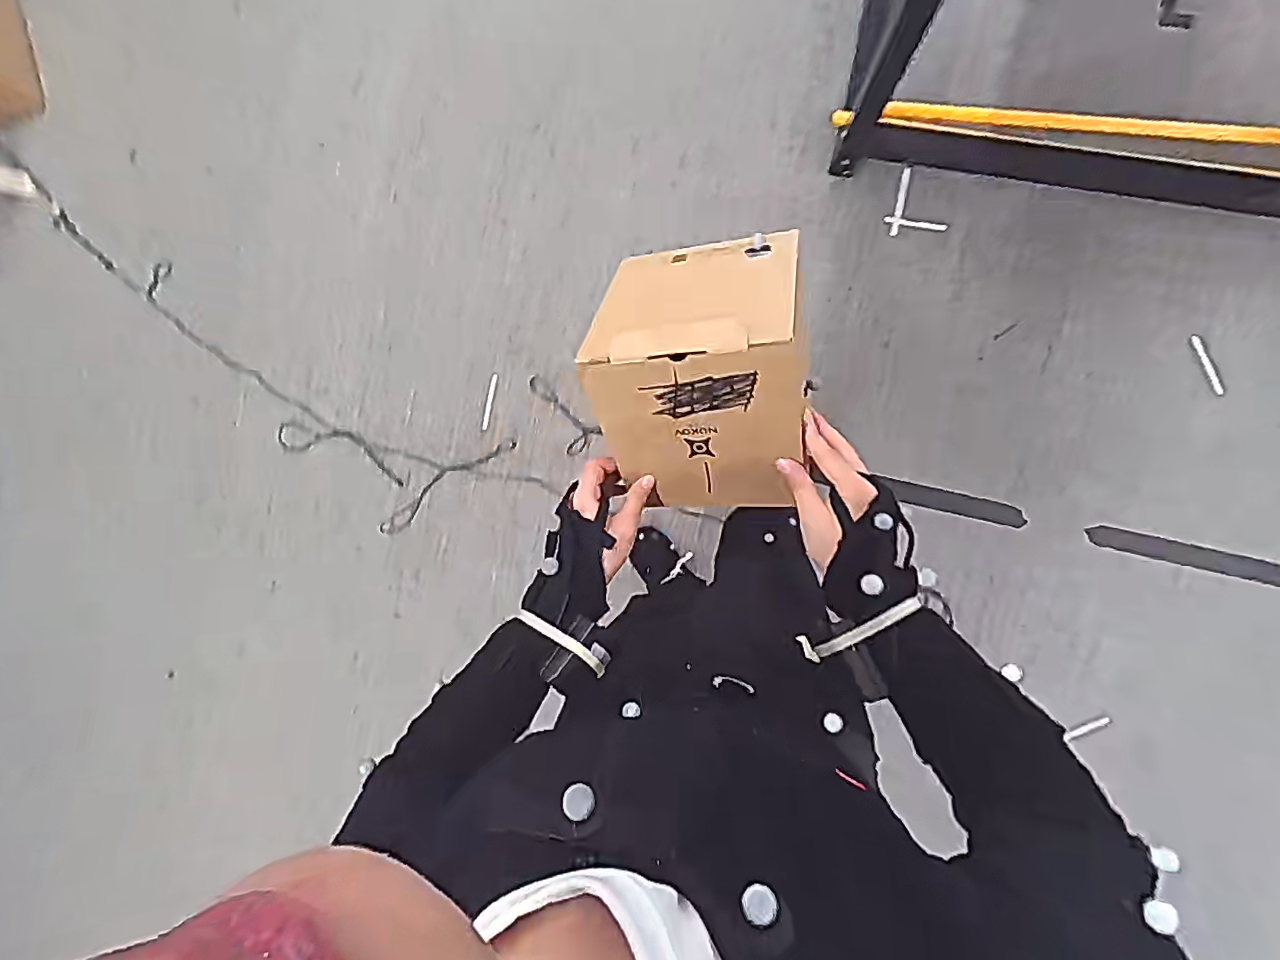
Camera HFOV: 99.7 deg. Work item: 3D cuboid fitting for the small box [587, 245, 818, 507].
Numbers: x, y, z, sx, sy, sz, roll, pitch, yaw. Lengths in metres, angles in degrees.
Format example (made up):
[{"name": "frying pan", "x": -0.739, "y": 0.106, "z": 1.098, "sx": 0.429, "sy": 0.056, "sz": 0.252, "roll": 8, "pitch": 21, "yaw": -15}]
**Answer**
[{"name": "small box", "x": 0.072, "y": -0.094, "z": 0.493, "sx": 0.168, "sy": 0.179, "sz": 0.176, "roll": 0, "pitch": 49, "yaw": 20}]
